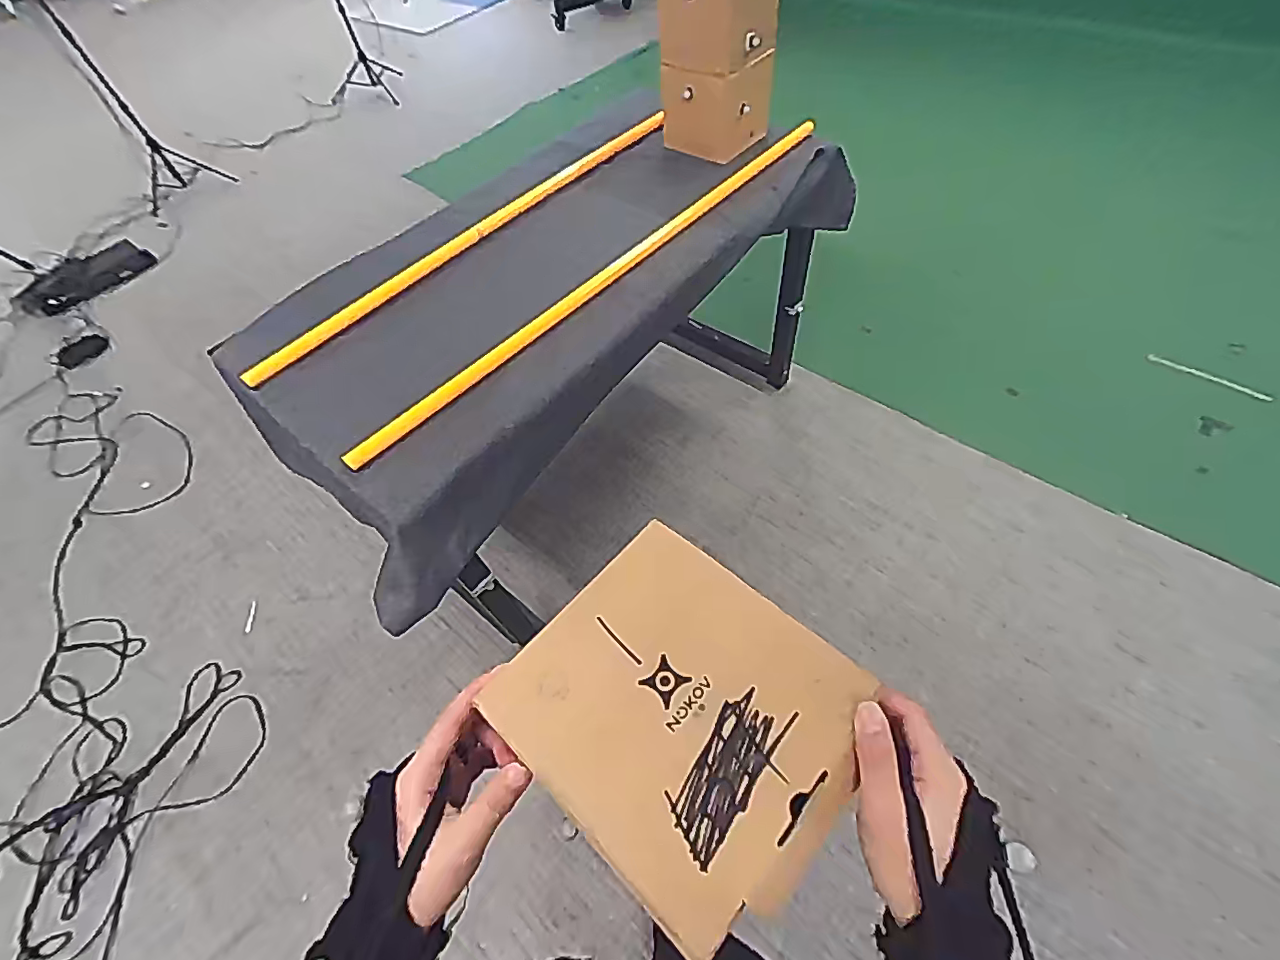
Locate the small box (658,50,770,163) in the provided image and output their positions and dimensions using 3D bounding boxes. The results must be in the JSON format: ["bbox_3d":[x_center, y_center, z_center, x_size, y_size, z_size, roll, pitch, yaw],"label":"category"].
[{"bbox_3d":[0.162,-0.831,1.190,0.179,0.176,0.168,34,66,26],"label":"small box"}]

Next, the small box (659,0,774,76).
[{"bbox_3d":[0.147,-0.926,1.059,0.179,0.176,0.168,32,67,25],"label":"small box"}]
